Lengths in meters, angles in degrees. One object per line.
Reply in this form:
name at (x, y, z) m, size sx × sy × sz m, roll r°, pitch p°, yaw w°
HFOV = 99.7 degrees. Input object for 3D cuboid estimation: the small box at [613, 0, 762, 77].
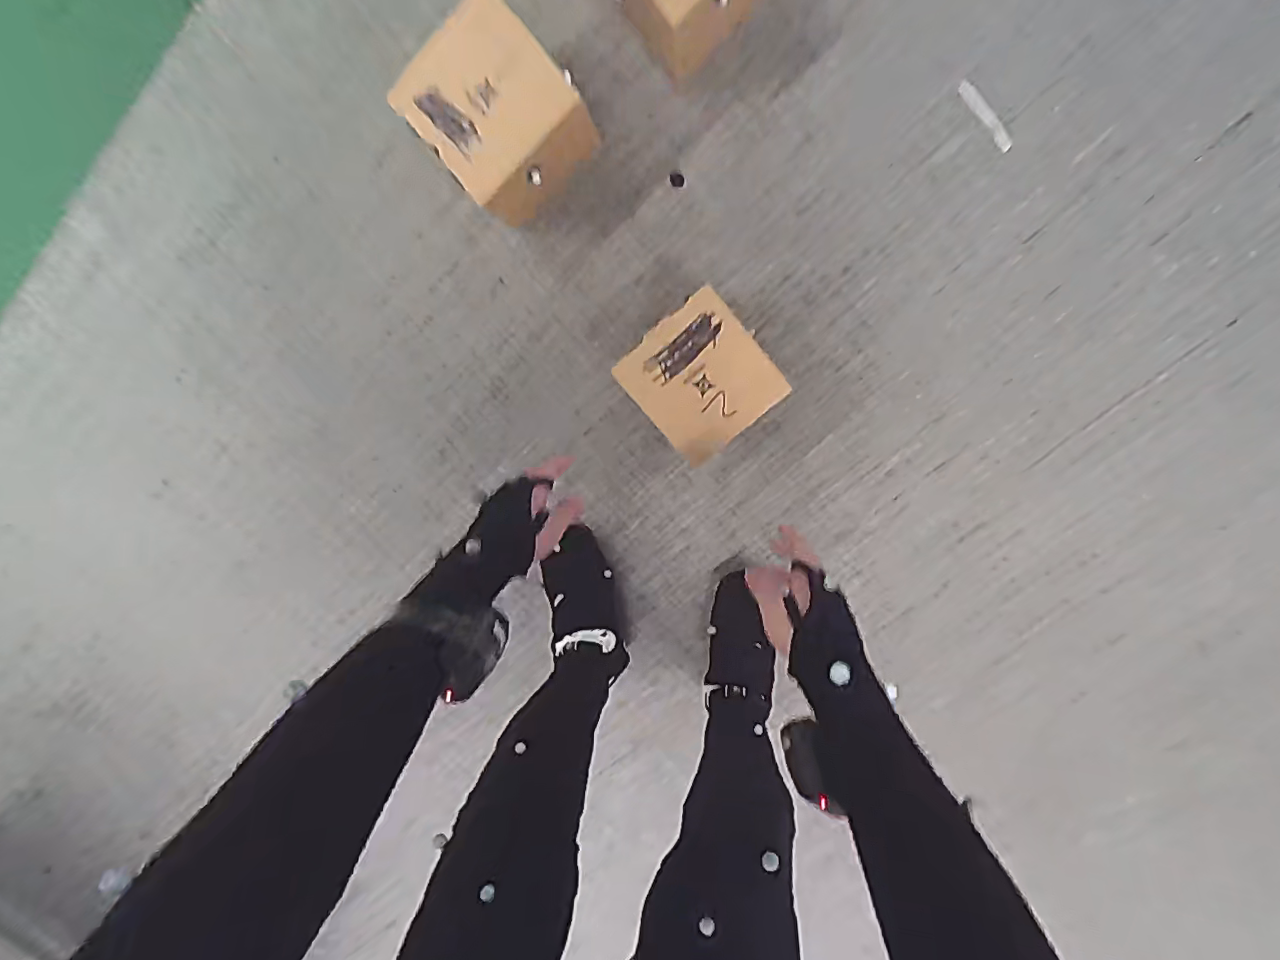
small box at (0.047, -0.634, 0.632) m, size 0.168 × 0.176 × 0.179 m, roll -39°, pitch 97°, yaw 14°

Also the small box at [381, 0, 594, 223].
small box at (-0.181, -0.468, 0.699) m, size 0.179 × 0.176 × 0.168 m, roll -41°, pitch 98°, yaw 14°
